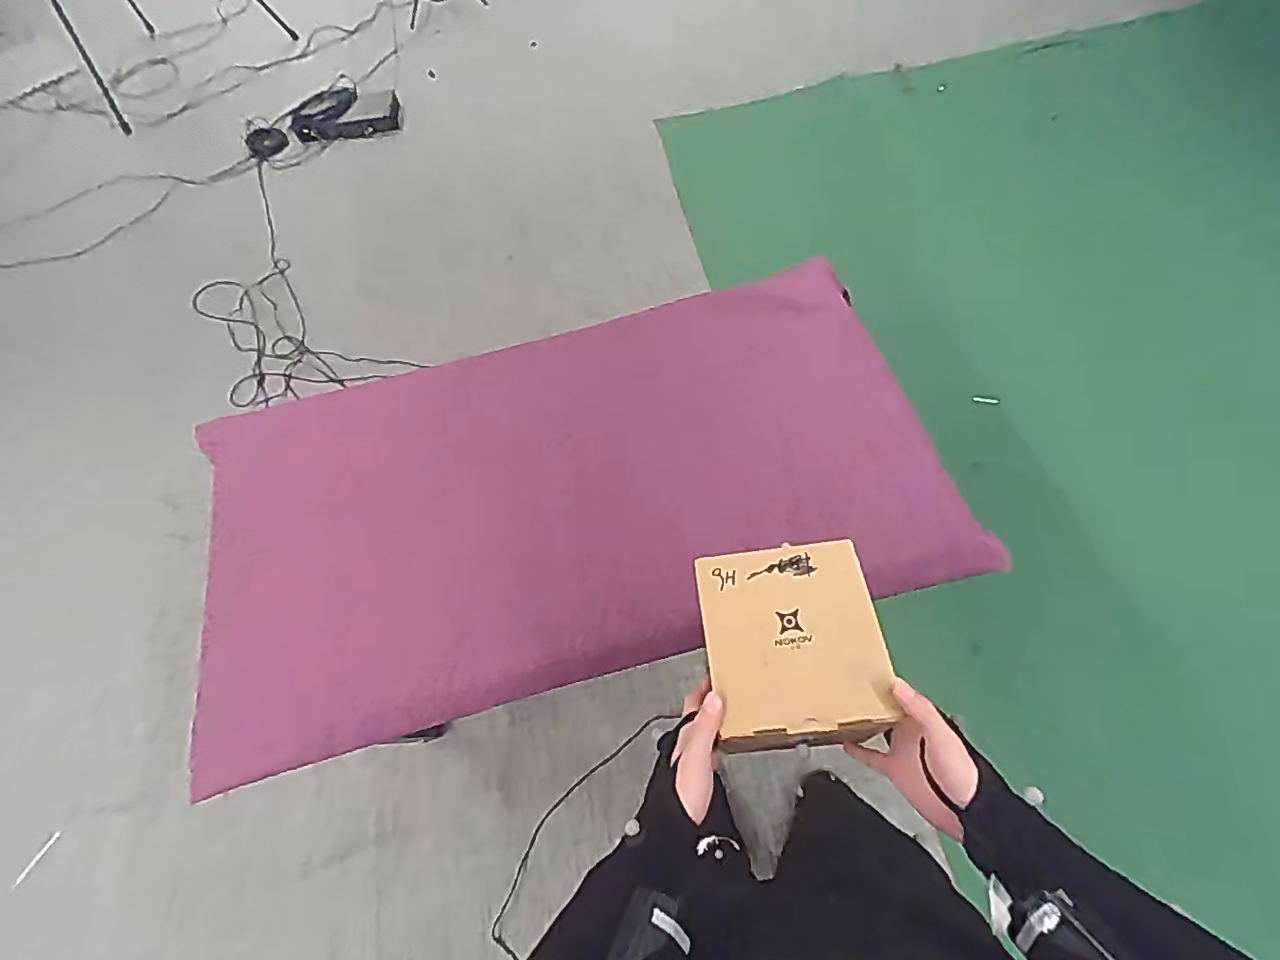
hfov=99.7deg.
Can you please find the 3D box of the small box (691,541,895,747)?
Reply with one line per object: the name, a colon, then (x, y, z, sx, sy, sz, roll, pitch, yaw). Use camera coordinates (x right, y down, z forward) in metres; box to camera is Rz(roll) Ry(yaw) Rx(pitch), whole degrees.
small box: (0.151, 0.187, 0.588, 0.168, 0.176, 0.179, -8, 59, 5)
